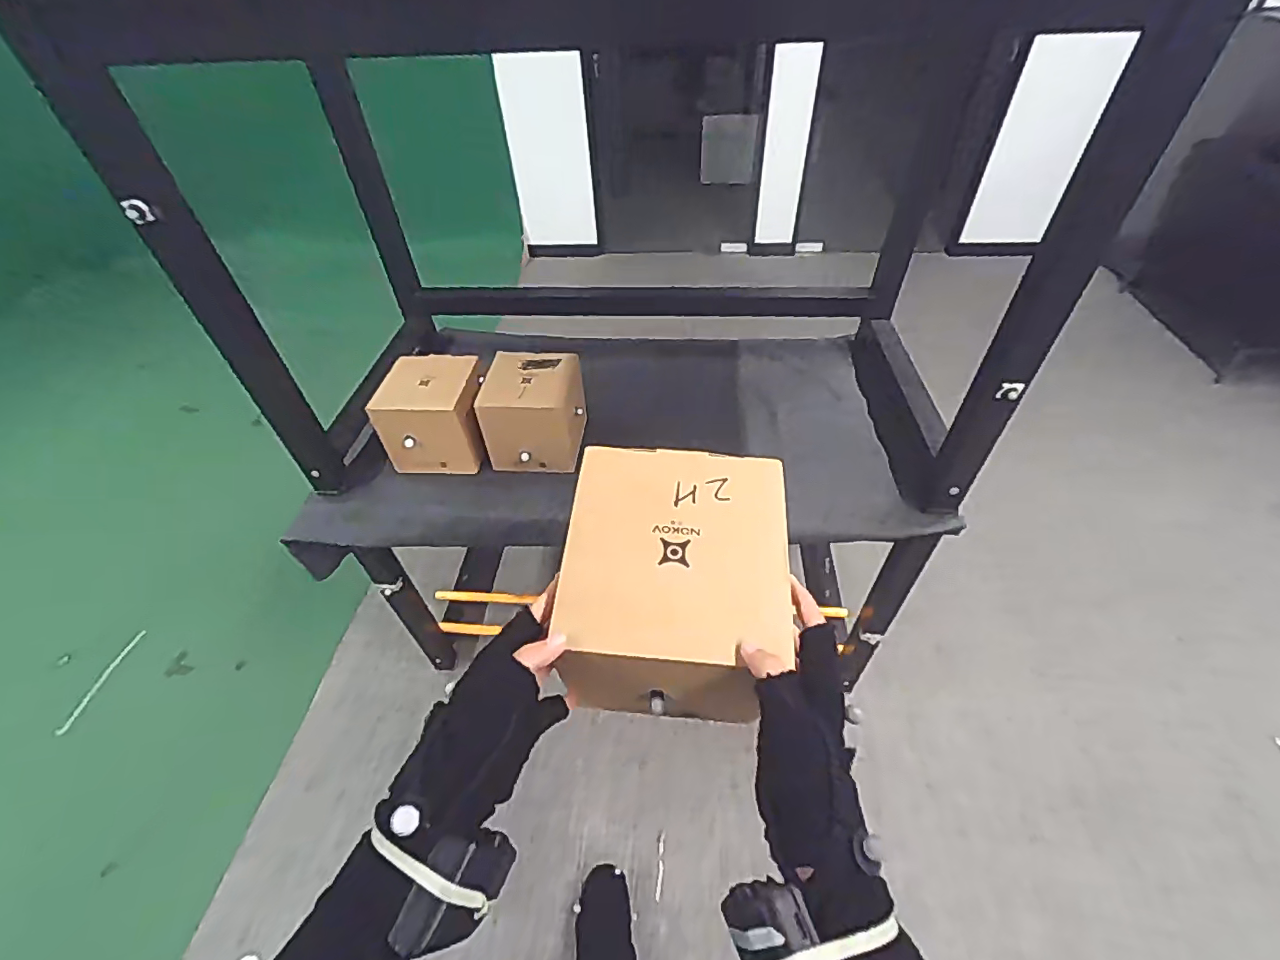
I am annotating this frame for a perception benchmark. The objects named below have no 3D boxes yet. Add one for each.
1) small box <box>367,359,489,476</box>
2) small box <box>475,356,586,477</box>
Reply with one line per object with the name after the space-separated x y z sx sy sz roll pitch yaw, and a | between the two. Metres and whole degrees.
-0.402 -0.123 1.079 0.168 0.176 0.179 1 45 3 | small box
-0.205 -0.127 1.073 0.168 0.176 0.179 1 46 5 | small box
